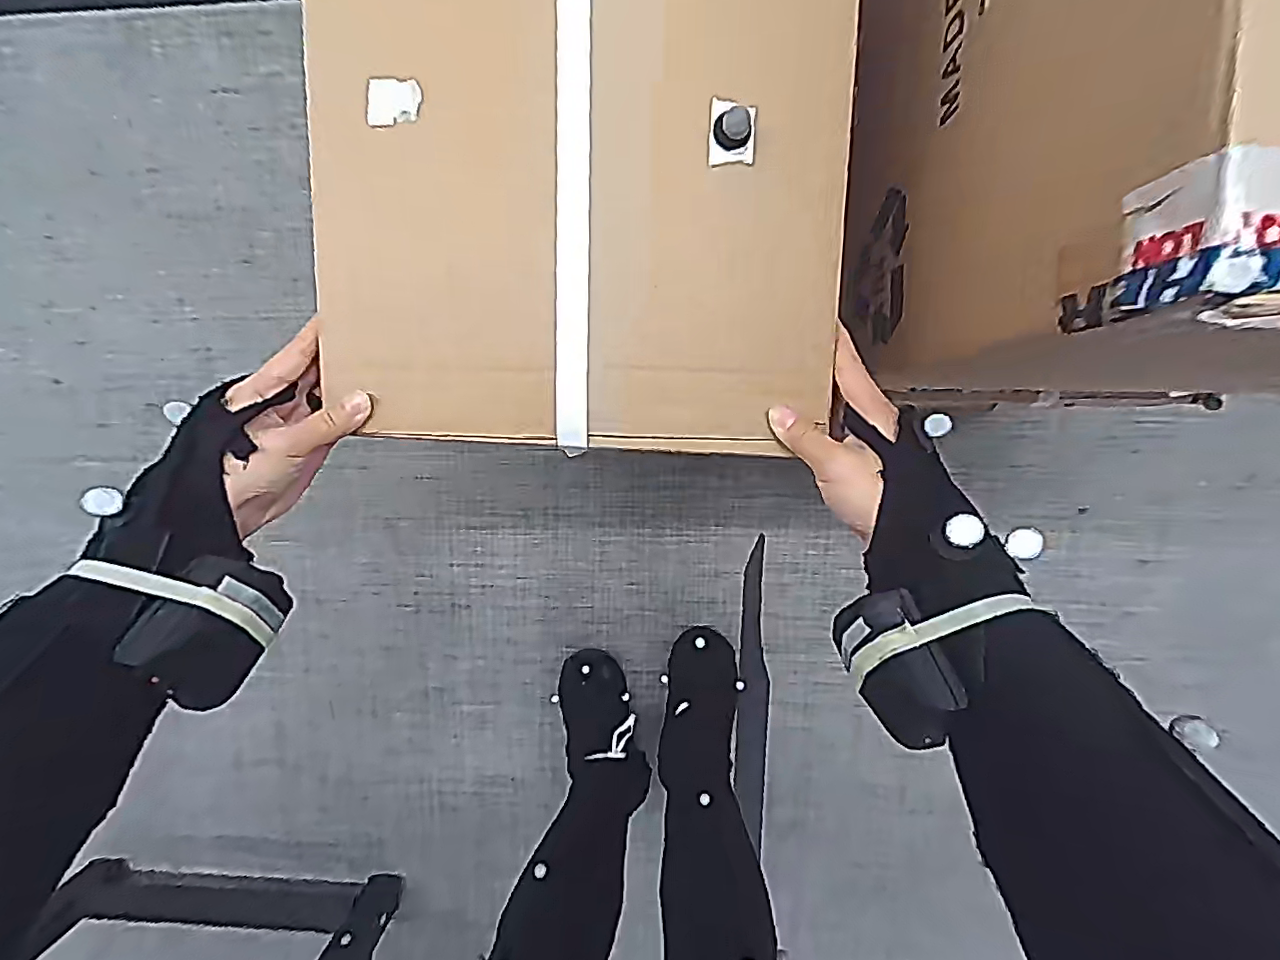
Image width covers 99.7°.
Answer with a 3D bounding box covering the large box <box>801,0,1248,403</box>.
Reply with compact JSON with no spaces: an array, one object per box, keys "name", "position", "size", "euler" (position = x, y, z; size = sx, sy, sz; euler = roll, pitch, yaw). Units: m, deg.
[{"name":"large box","position":[0.384,-0.299,0.639],"size":[0.320,0.320,0.408],"euler":[-1,98,3]}]
